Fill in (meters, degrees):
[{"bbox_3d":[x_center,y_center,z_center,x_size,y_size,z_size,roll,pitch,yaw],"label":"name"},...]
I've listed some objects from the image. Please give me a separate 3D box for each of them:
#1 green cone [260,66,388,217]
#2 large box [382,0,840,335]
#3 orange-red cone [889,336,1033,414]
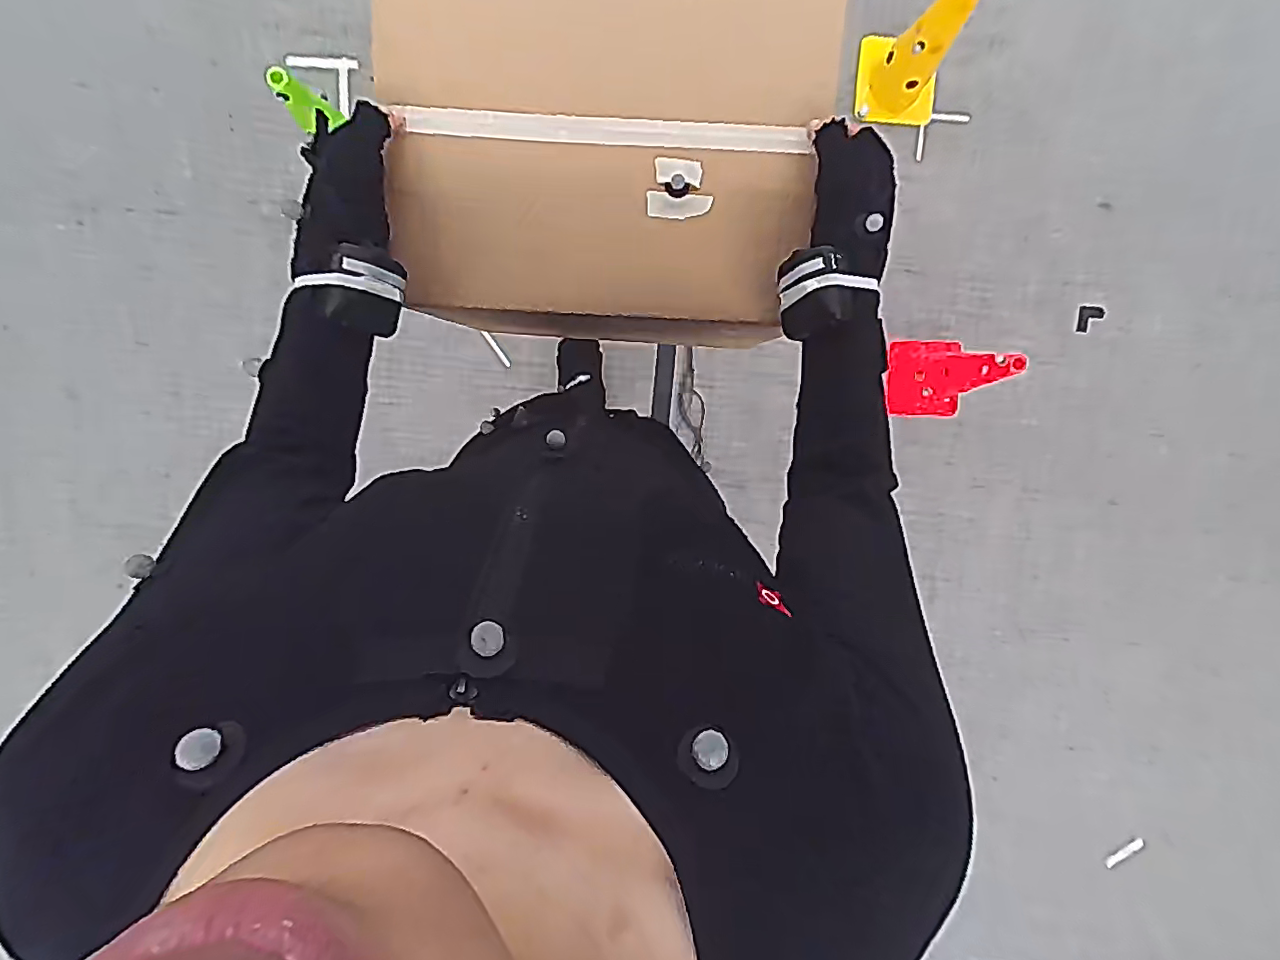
[{"bbox_3d":[-0.680,-0.772,1.176,0.202,0.368,0.200,-33,95,3],"label":"green cone"},{"bbox_3d":[-0.031,-0.347,0.629,0.408,0.320,0.320,3,101,-1],"label":"large box"},{"bbox_3d":[0.769,-0.265,1.267,0.198,0.360,0.199,2,94,-3],"label":"orange-red cone"}]
